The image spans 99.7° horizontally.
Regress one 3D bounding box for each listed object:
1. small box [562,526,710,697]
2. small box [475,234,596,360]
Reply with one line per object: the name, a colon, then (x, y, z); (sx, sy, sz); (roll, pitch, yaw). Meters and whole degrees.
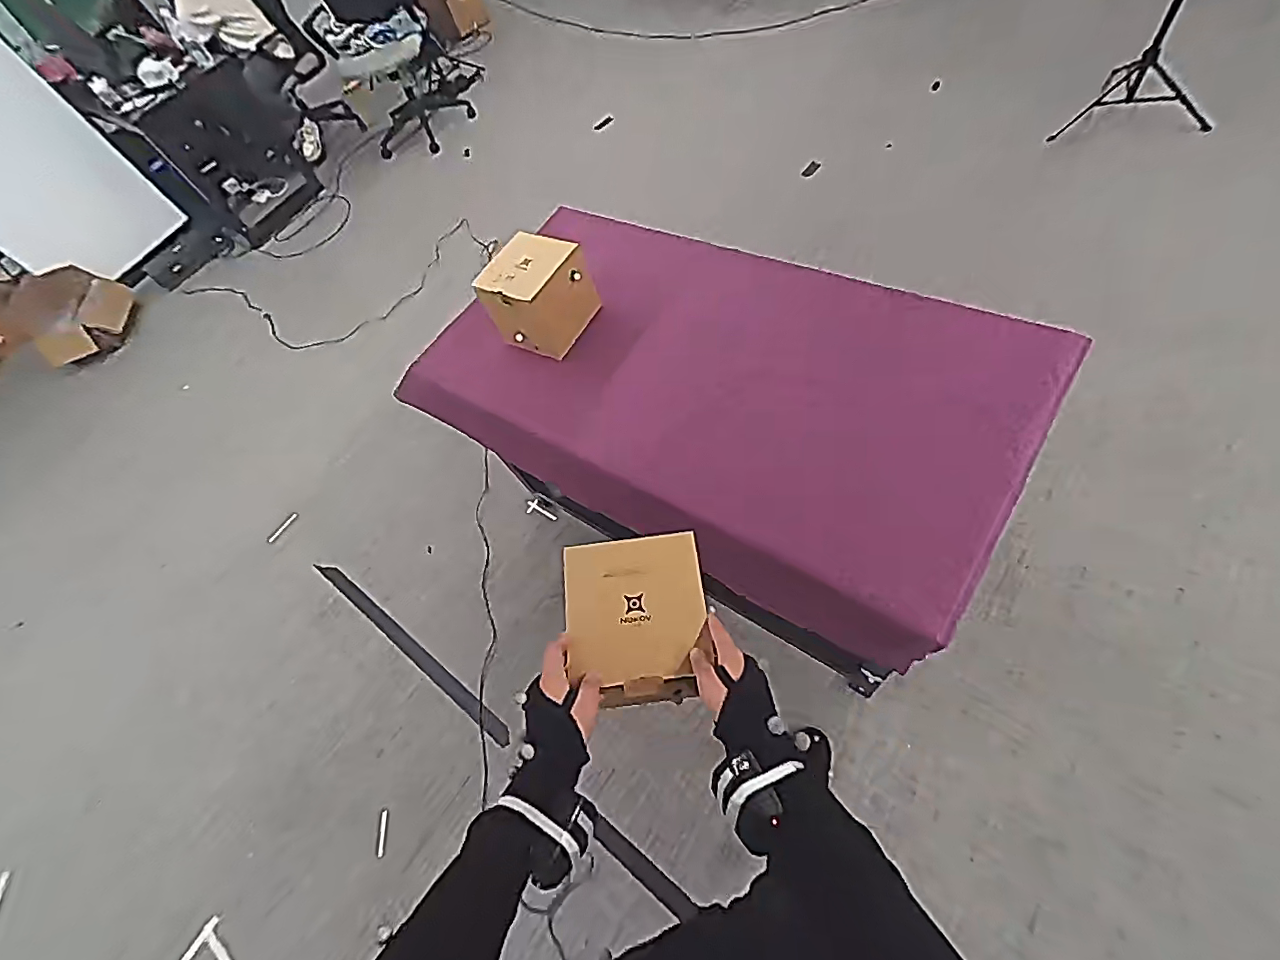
small box: (-0.003, 0.180, 0.706); (0.168, 0.176, 0.179); (-7, 61, 1)
small box: (-0.213, -0.393, 1.167); (0.168, 0.176, 0.179); (23, 70, 26)
